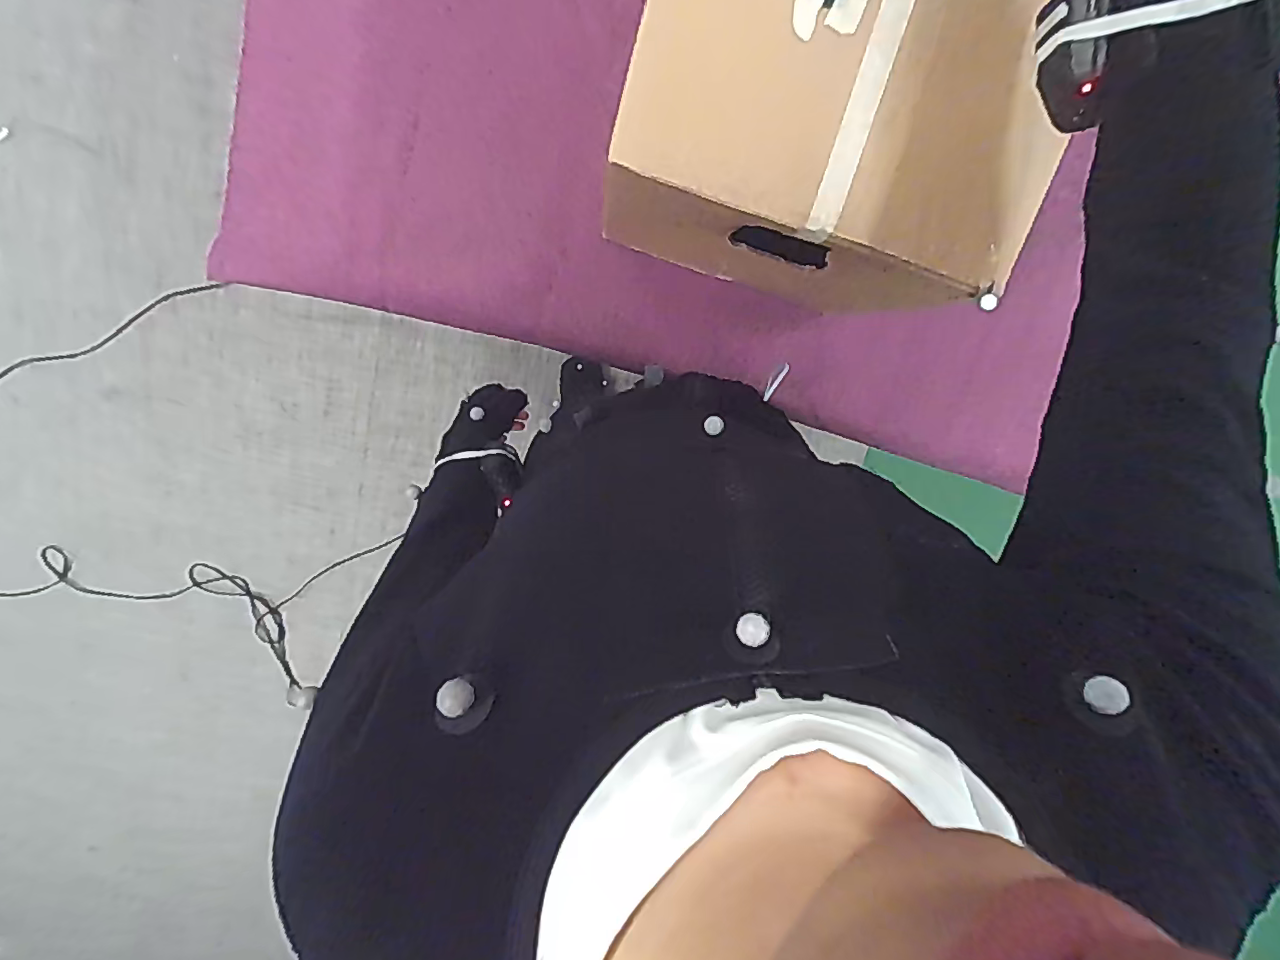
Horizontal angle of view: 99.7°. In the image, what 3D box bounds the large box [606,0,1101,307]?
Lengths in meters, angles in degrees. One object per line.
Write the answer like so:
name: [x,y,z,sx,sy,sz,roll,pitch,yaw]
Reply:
large box: [0.168,-0.411,0.508,0.320,0.320,0.408,16,104,-8]
